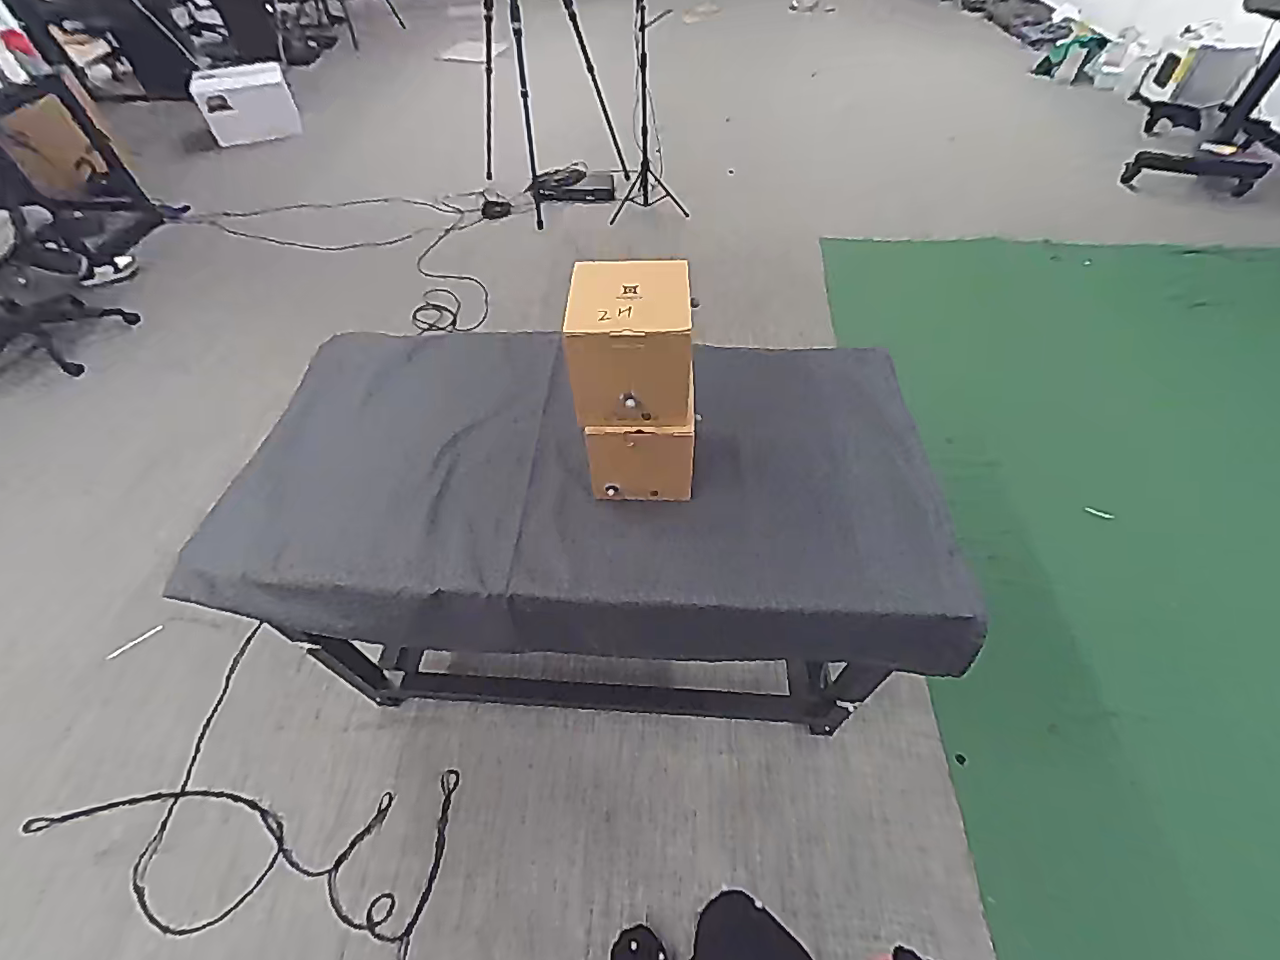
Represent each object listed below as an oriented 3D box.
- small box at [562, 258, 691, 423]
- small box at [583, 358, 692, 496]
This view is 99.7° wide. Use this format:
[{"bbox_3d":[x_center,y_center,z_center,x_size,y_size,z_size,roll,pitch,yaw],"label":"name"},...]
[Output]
[{"bbox_3d":[-0.013,-0.202,0.791,0.168,0.176,0.179,0,52,2],"label":"small box"},{"bbox_3d":[0.004,-0.088,0.909,0.168,0.176,0.179,1,50,3],"label":"small box"}]
